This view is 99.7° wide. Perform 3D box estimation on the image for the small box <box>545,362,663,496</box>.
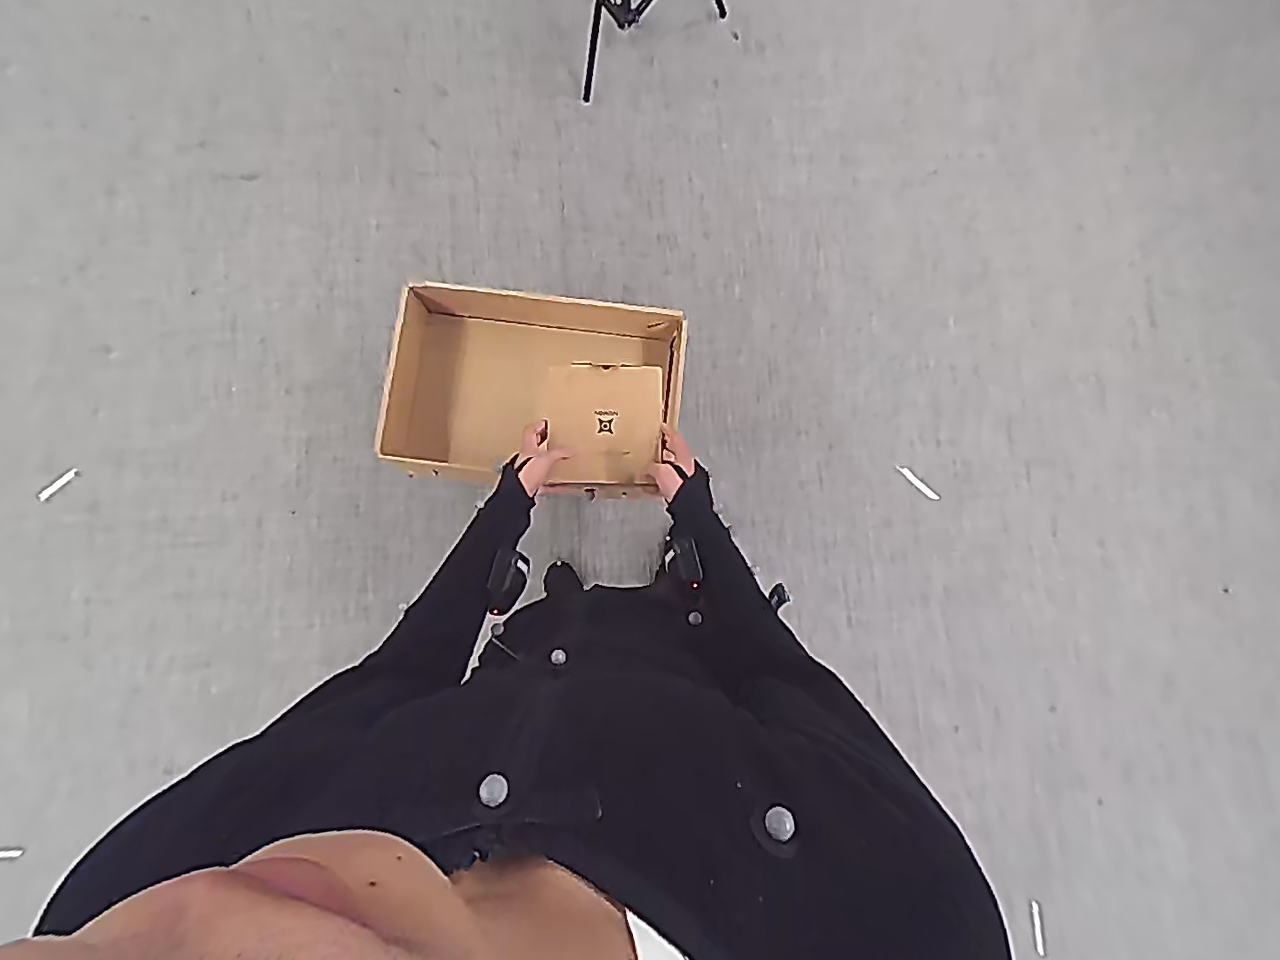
[{"bbox_3d":[-0.059,-0.070,0.842,0.168,0.176,0.179,1,85,-6],"label":"small box"}]
